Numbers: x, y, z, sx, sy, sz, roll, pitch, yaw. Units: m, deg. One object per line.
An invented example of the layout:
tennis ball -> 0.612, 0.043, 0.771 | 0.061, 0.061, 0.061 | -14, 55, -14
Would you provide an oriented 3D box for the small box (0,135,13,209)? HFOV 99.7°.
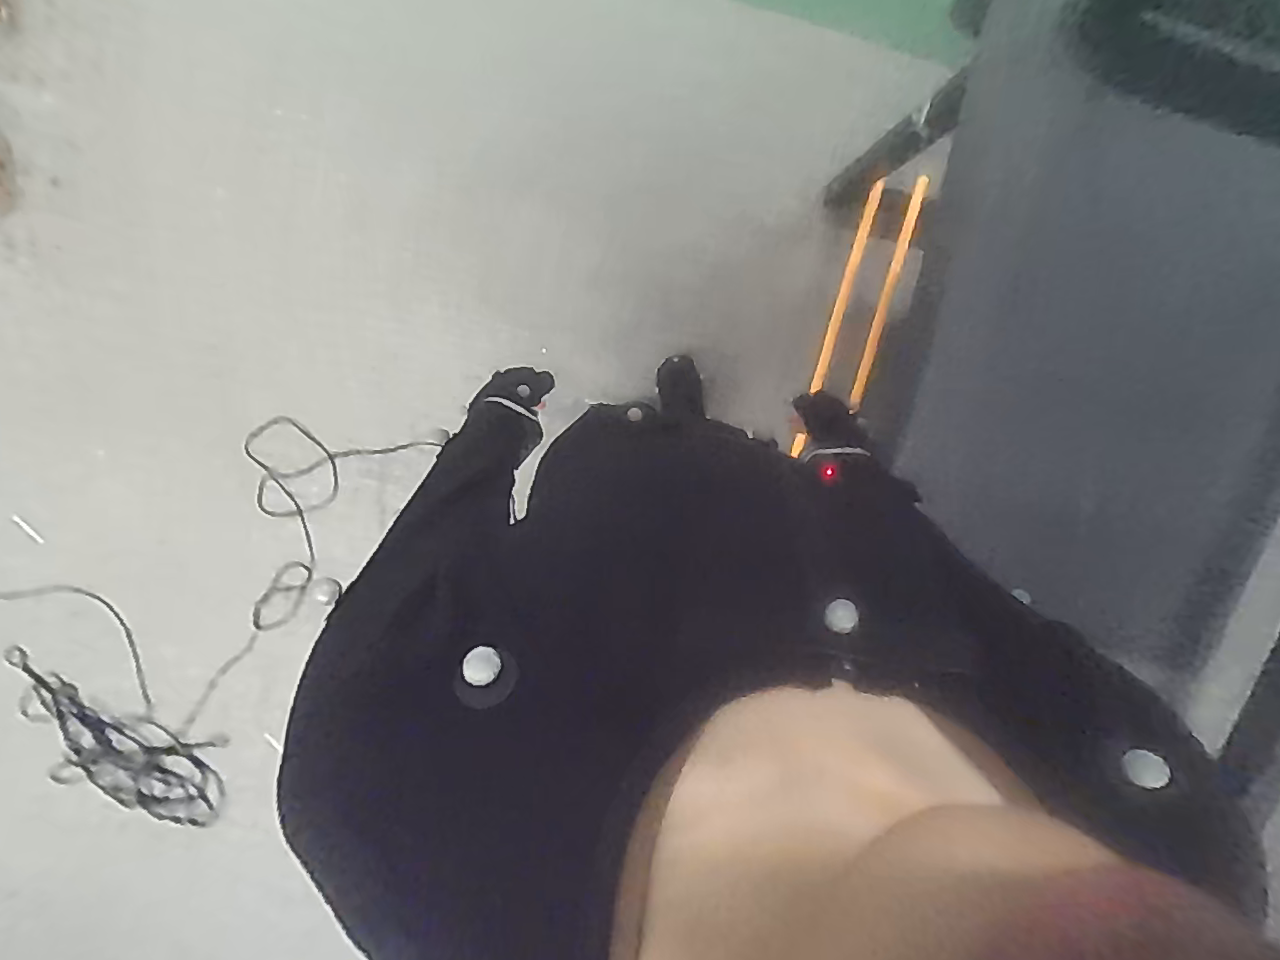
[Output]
small box -> -1.530, -0.703, 1.160 | 0.179, 0.176, 0.168 | 11, 102, -7
